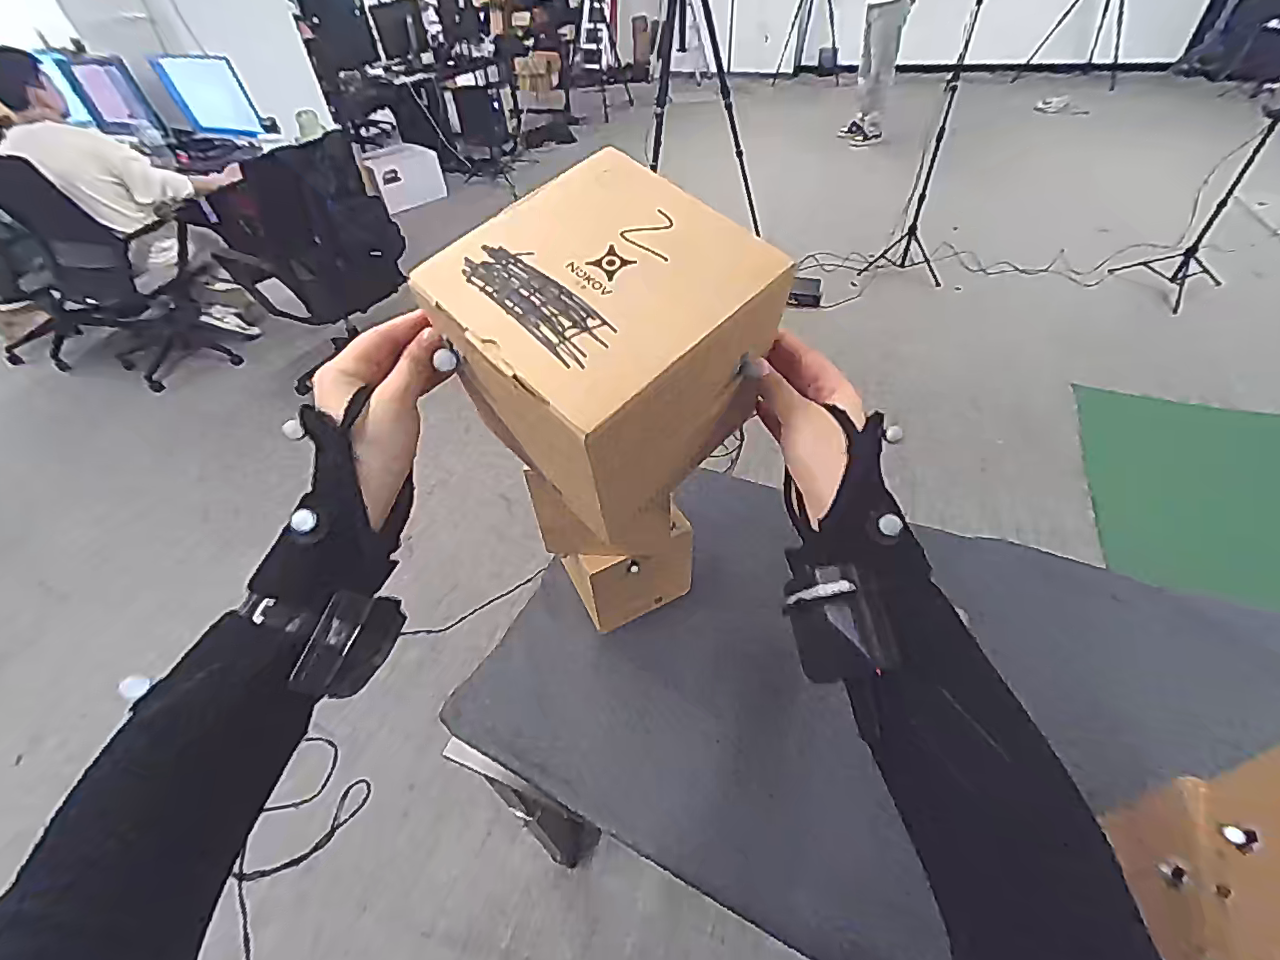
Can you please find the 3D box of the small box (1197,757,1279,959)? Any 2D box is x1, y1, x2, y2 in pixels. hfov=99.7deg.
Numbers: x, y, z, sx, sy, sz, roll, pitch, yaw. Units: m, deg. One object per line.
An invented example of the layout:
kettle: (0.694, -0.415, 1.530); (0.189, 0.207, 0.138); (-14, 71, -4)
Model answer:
small box: (0.550, 0.307, 0.374); (0.179, 0.176, 0.168); (22, 50, 26)

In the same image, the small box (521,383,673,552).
small box: (-0.044, -0.015, 0.739); (0.179, 0.176, 0.168); (0, 46, 5)

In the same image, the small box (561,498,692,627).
small box: (-0.032, 0.098, 0.860); (0.168, 0.176, 0.179); (-23, 48, -17)

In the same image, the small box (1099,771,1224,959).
small box: (0.565, 0.413, 0.497); (0.168, 0.176, 0.179); (14, 48, 19)
